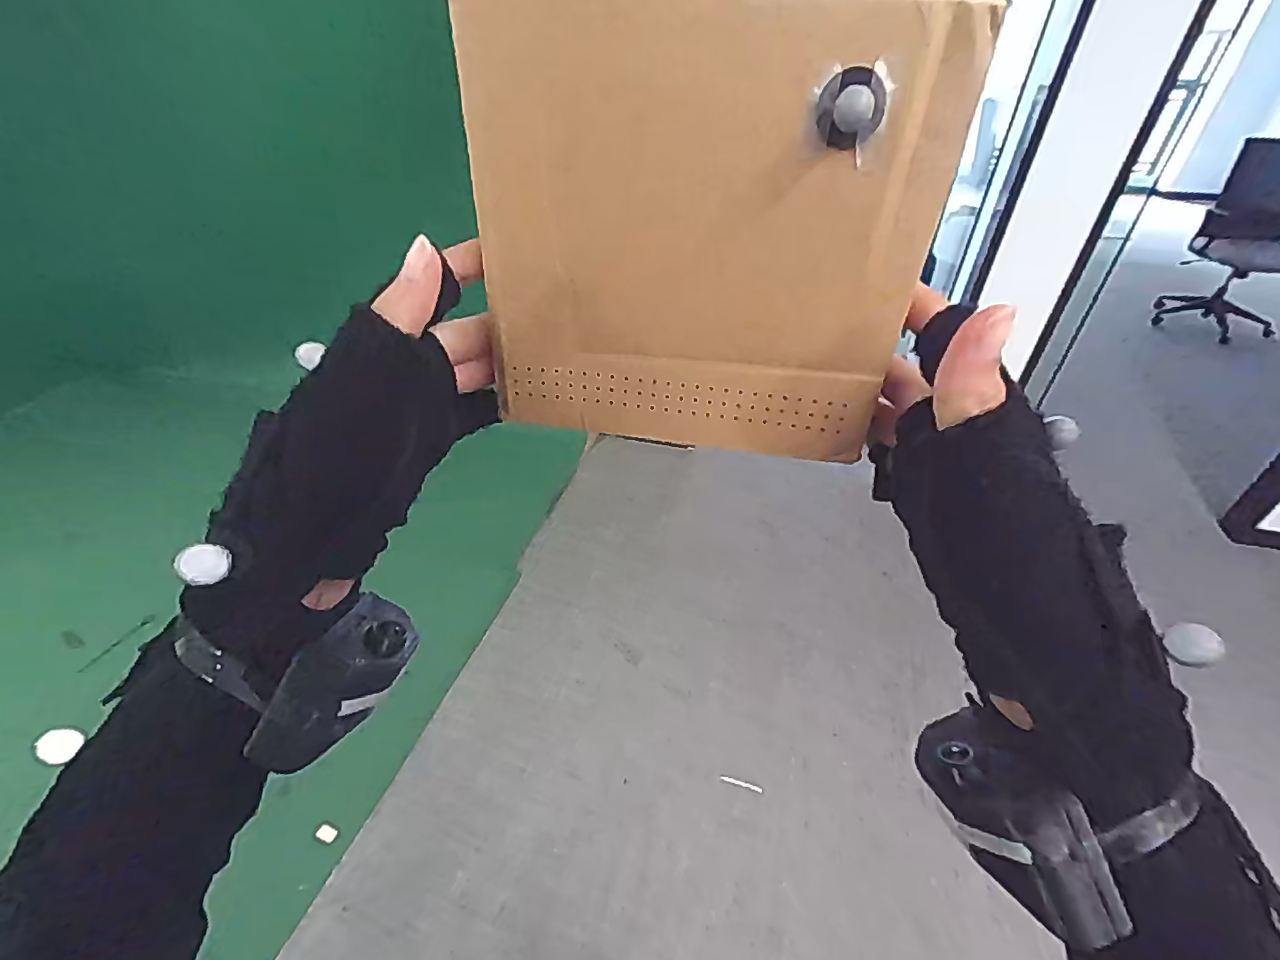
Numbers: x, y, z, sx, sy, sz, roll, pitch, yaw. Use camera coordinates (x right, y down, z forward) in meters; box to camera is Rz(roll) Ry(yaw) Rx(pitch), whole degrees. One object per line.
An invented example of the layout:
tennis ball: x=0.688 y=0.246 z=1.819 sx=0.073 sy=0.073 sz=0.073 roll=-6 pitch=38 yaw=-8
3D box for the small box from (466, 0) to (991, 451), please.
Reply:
small box: x=0.033 y=-0.130 z=0.284 sx=0.179 sy=0.176 sz=0.168 roll=8 pitch=35 yaw=5
